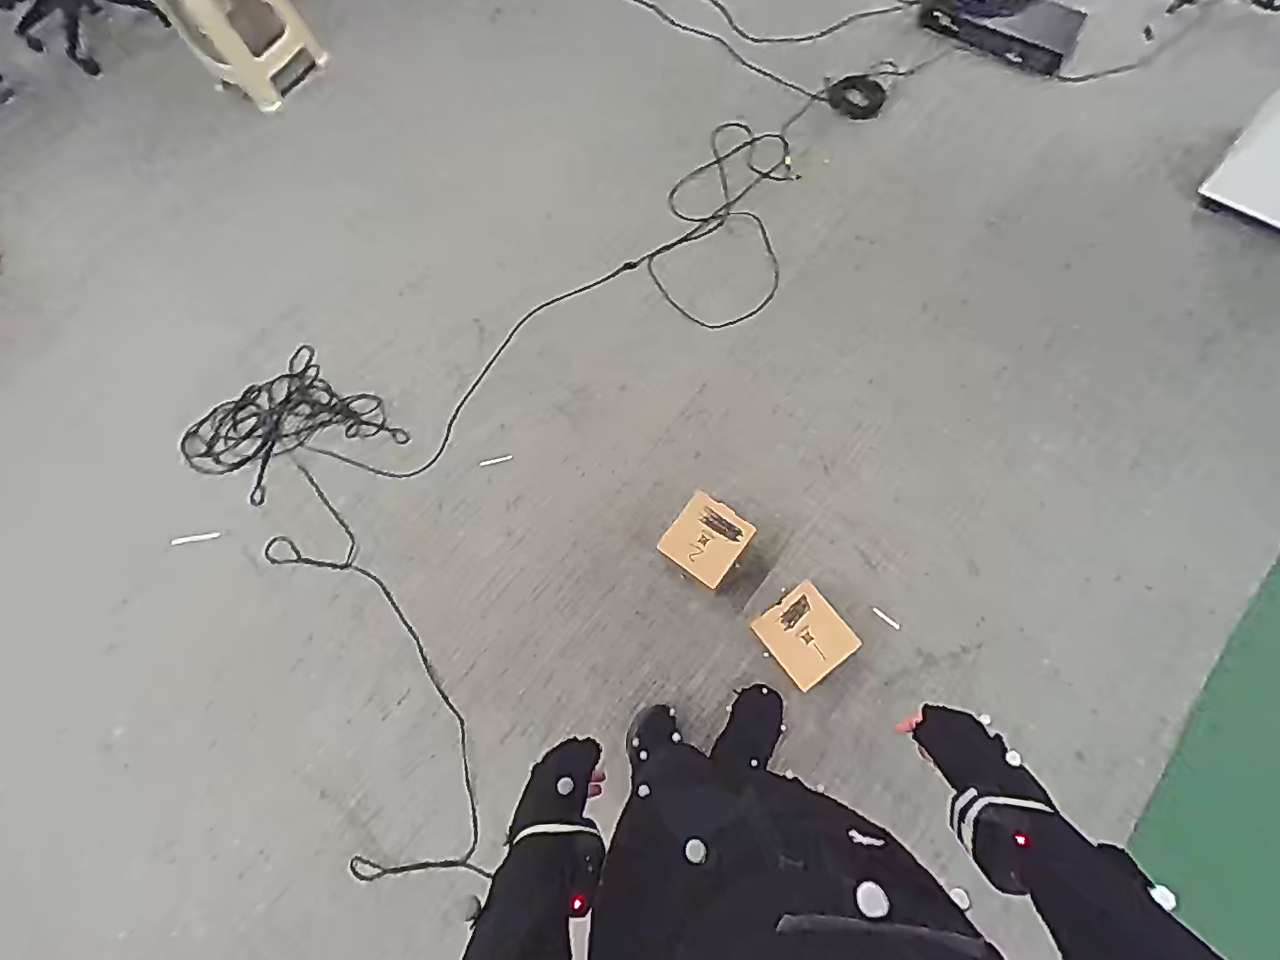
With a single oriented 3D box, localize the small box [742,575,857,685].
[{"bbox_3d":[0.352,0.344,1.235,0.168,0.176,0.179,-37,74,-6],"label":"small box"}]
